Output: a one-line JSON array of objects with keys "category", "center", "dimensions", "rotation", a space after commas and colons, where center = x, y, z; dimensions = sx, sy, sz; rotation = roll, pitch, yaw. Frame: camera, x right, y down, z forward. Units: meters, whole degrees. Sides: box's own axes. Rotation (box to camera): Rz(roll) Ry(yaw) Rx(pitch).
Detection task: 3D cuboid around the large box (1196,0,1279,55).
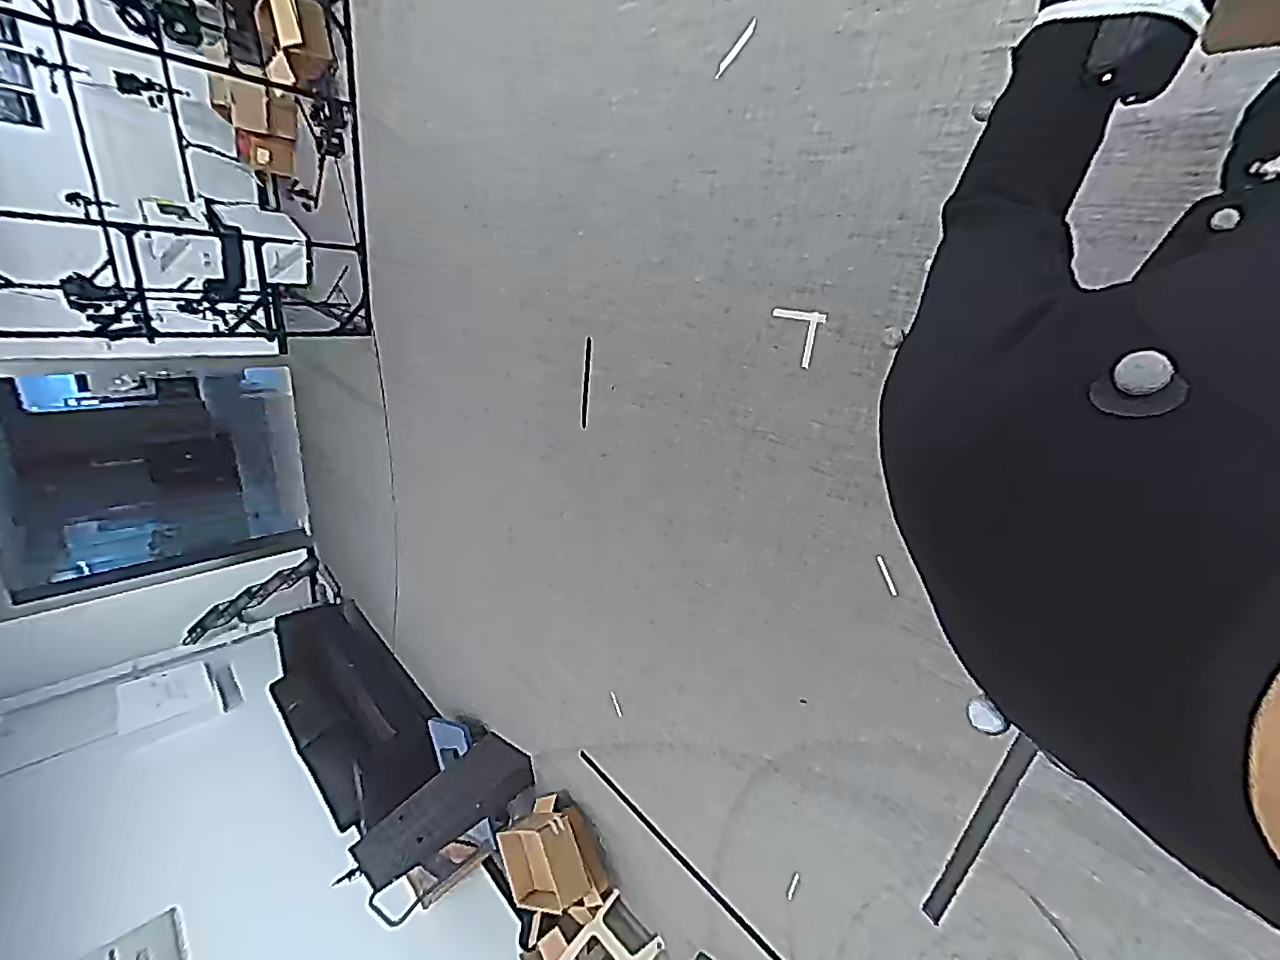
[{"category": "large box", "center": [0.587, -0.454, 0.249], "dimensions": [0.408, 0.320, 0.320], "rotation": [23, 124, 39]}]
